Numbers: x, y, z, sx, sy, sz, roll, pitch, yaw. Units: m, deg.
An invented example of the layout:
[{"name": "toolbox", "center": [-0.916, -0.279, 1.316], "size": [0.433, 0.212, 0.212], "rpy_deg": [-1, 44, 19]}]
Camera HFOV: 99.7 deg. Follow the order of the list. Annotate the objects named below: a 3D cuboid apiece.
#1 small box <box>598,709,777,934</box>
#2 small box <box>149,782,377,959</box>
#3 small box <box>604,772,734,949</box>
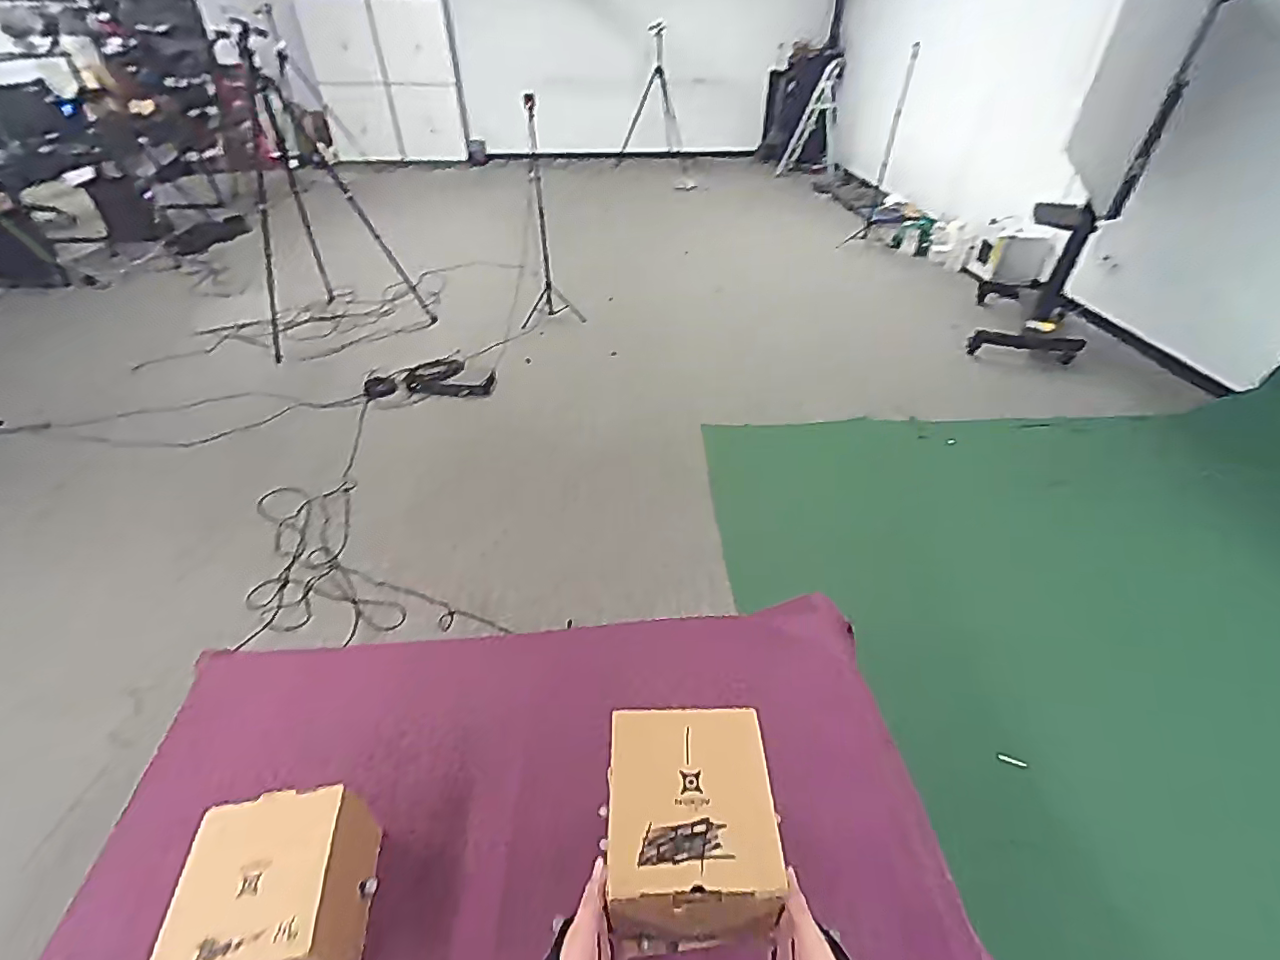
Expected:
[{"name": "small box", "center": [0.046, 0.378, 0.600], "size": [0.168, 0.176, 0.179], "rpy_deg": [-1, 39, 0]}, {"name": "small box", "center": [-0.453, 0.522, 0.687], "size": [0.168, 0.176, 0.179], "rpy_deg": [-7, 41, -8]}, {"name": "small box", "center": [0.043, 0.496, 0.722], "size": [0.168, 0.176, 0.179], "rpy_deg": [-5, 39, -5]}]
